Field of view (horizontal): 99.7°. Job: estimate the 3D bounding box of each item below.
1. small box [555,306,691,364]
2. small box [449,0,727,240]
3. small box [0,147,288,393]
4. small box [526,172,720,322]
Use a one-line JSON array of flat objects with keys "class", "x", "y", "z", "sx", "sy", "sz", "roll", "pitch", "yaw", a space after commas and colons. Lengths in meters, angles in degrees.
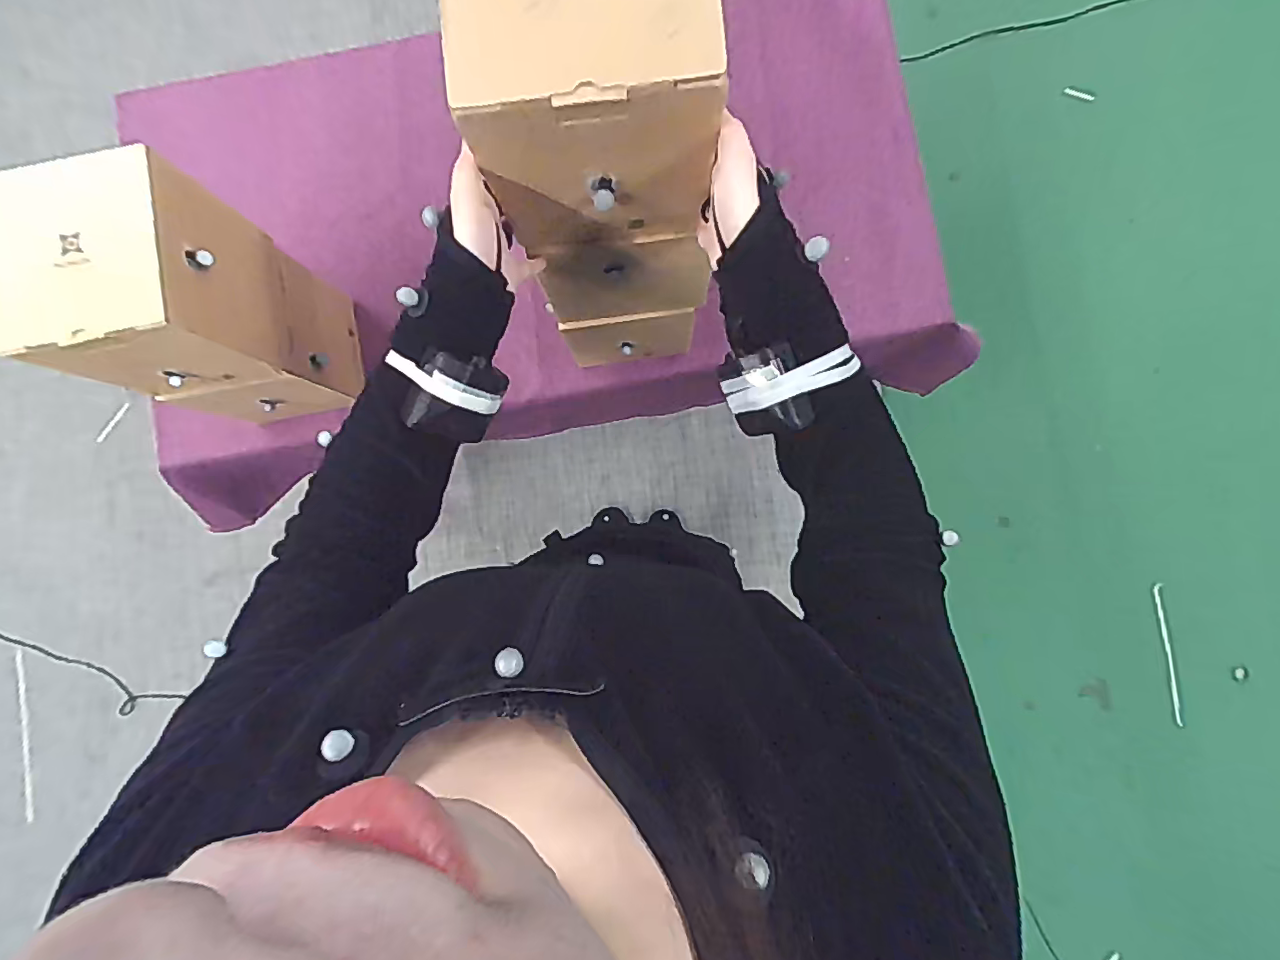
[{"class": "small box", "x": -0.025, "y": -0.264, "z": 0.733, "sx": 0.168, "sy": 0.176, "sz": 0.179, "roll": -7, "pitch": 86, "yaw": 0}, {"class": "small box", "x": -0.032, "y": -0.298, "z": 0.403, "sx": 0.168, "sy": 0.176, "sz": 0.179, "roll": -5, "pitch": 88, "yaw": 1}, {"class": "small box", "x": -0.513, "y": -0.205, "z": 0.573, "sx": 0.168, "sy": 0.176, "sz": 0.179, "roll": -10, "pitch": 87, "yaw": 1}, {"class": "small box", "x": -0.020, "y": -0.278, "z": 0.569, "sx": 0.179, "sy": 0.176, "sz": 0.168, "roll": -7, "pitch": 87, "yaw": 0}]
